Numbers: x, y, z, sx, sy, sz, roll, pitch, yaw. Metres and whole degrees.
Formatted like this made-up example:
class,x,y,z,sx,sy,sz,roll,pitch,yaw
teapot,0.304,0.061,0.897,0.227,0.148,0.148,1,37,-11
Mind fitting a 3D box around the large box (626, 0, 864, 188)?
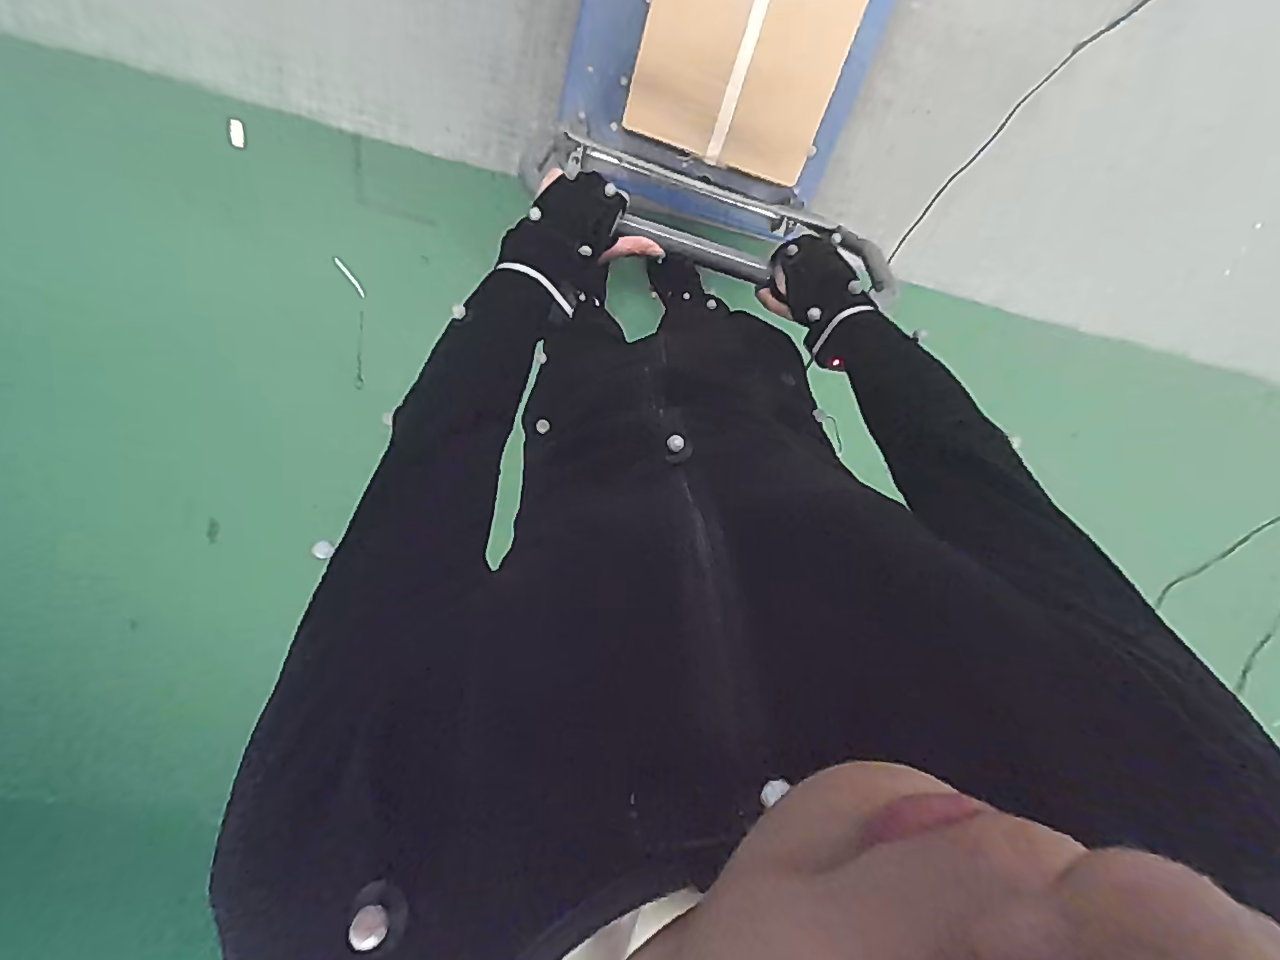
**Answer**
class,x,y,z,sx,sy,sz,roll,pitch,yaw
large box,0.173,-0.774,0.948,0.320,0.320,0.408,14,117,-9
